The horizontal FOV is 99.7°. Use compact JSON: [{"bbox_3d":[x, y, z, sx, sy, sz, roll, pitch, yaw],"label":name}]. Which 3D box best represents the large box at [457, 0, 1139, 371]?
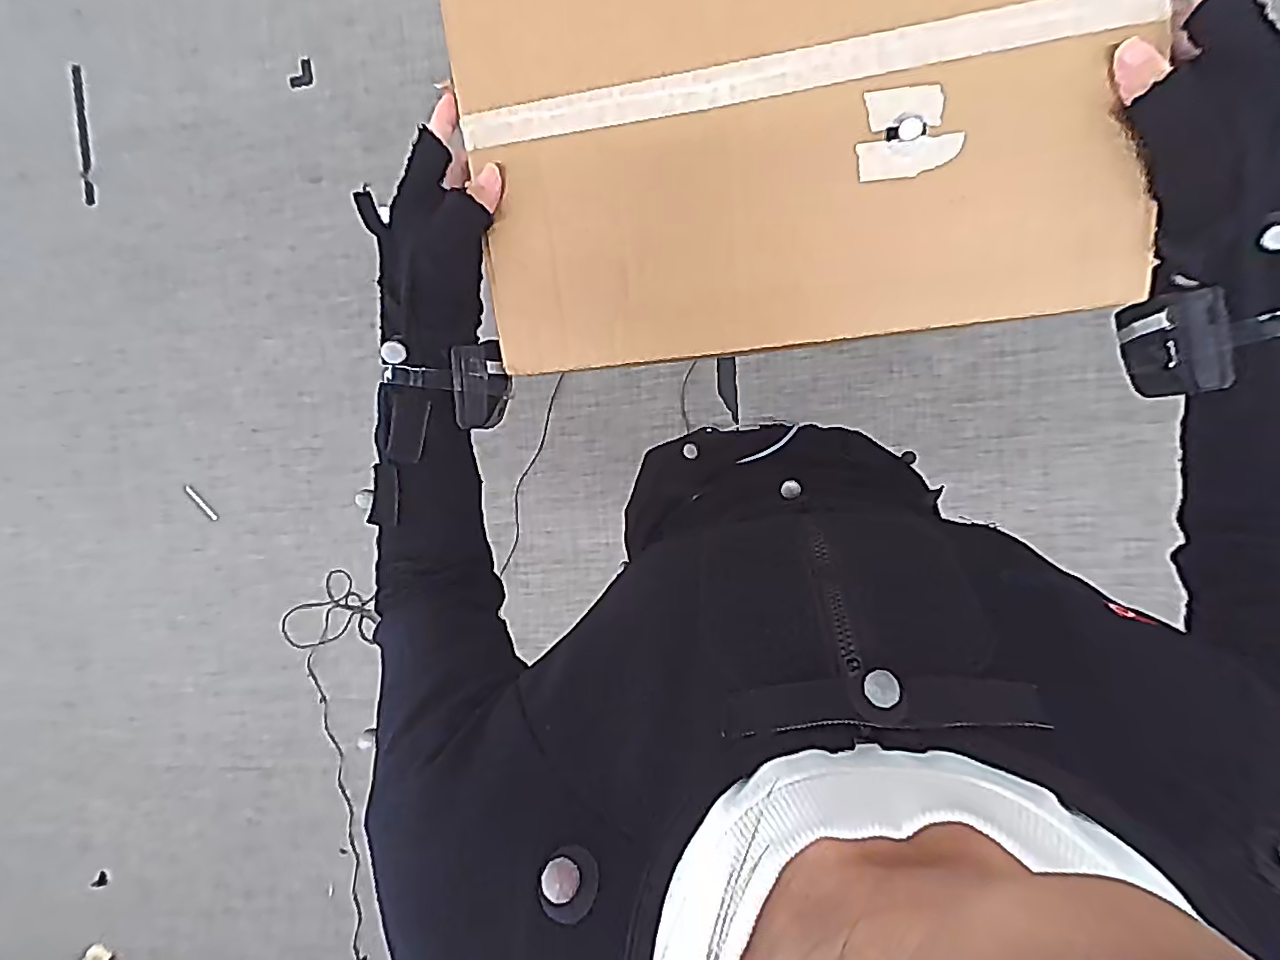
[{"bbox_3d":[0.103,-0.280,0.479,0.408,0.320,0.320,-5,102,8],"label":"large box"}]
